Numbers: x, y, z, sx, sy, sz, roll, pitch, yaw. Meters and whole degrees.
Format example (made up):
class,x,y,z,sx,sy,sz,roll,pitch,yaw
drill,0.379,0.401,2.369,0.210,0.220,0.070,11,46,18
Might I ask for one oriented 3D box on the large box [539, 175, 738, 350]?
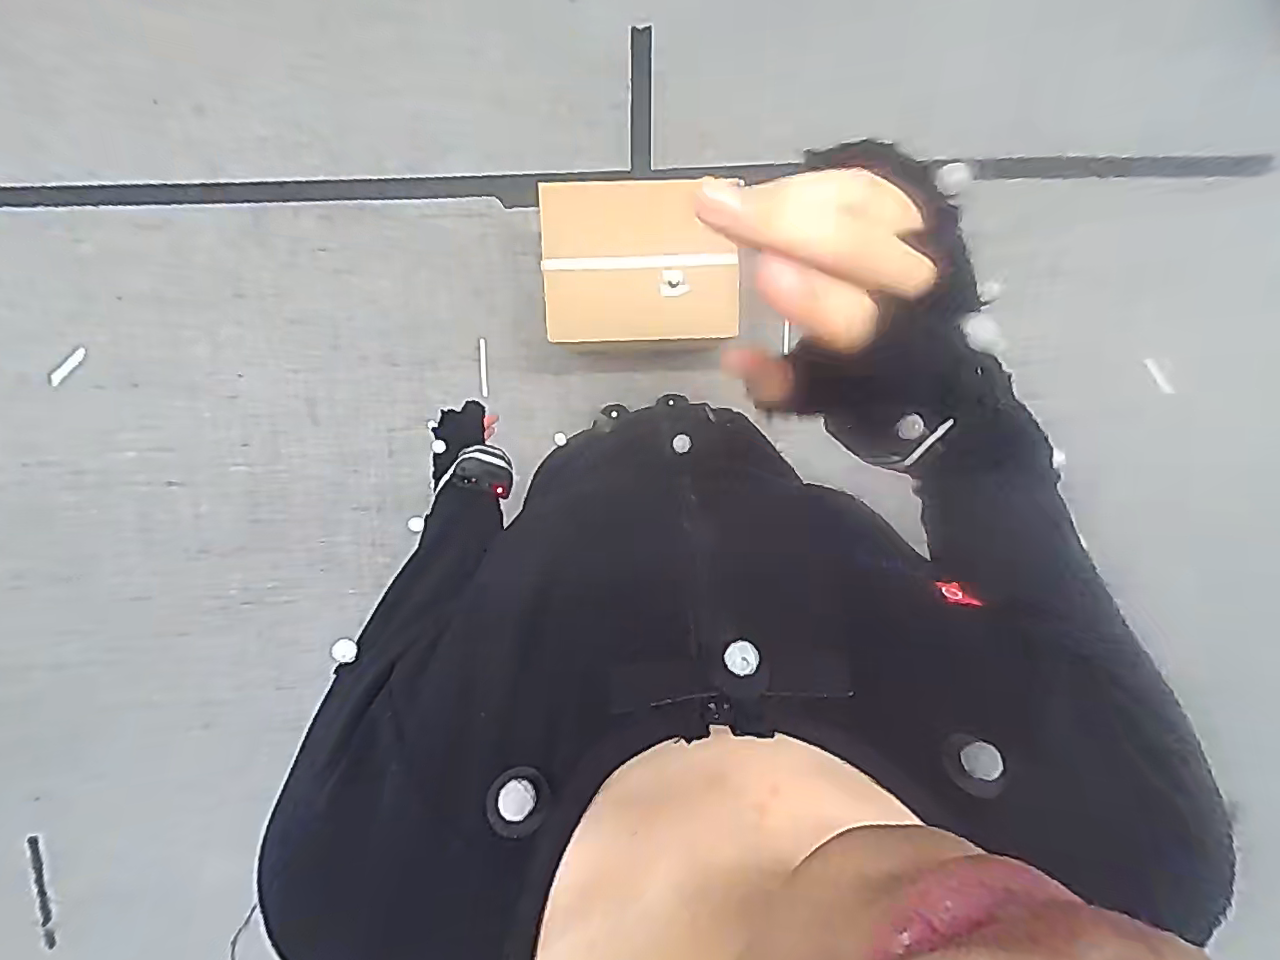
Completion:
class,x,y,z,sx,sy,sz,roll,pitch,yaw
large box,-0.005,-0.478,1.256,0.408,0.320,0.320,-2,100,-2
